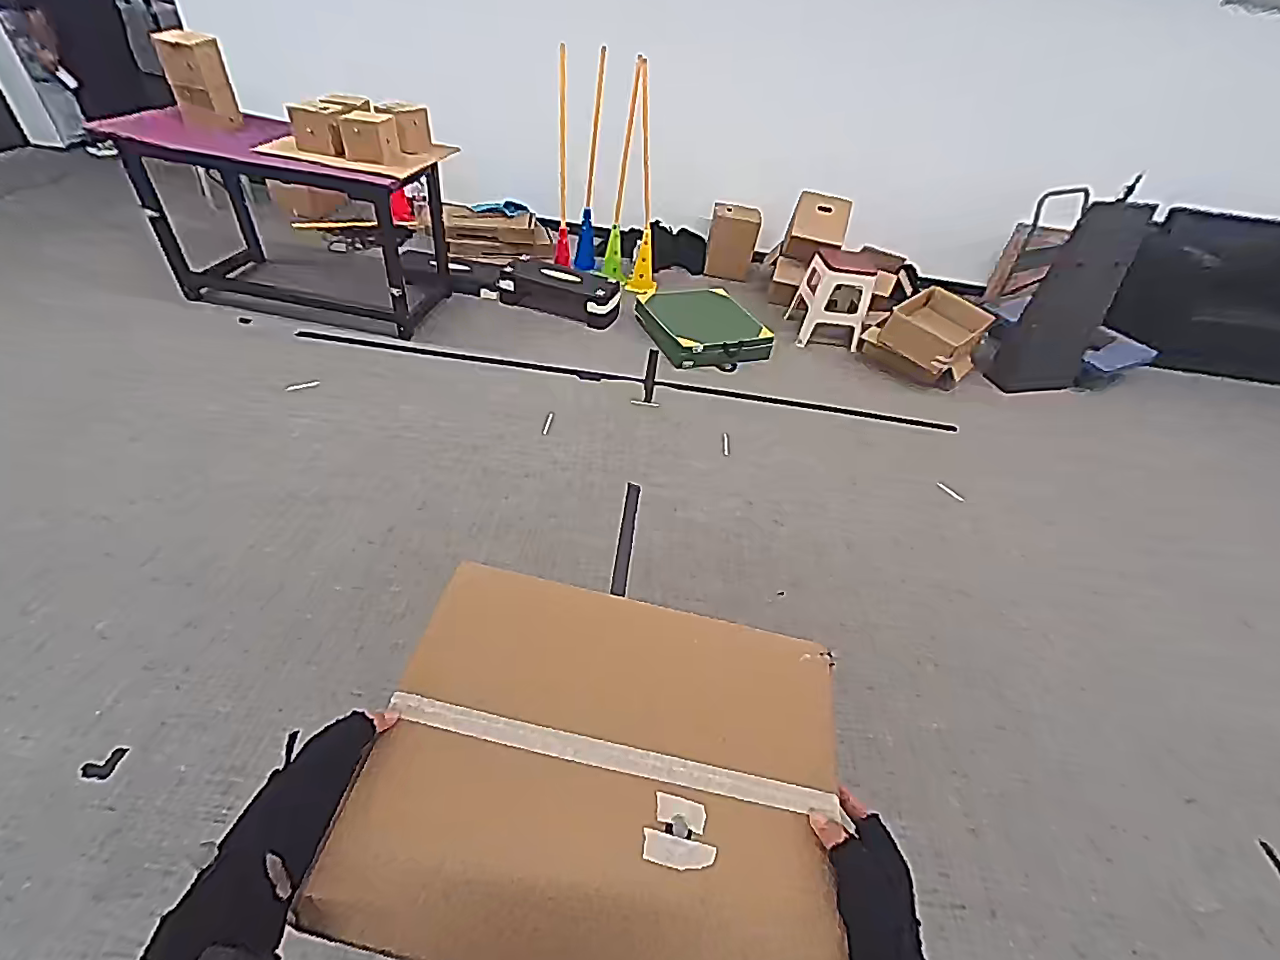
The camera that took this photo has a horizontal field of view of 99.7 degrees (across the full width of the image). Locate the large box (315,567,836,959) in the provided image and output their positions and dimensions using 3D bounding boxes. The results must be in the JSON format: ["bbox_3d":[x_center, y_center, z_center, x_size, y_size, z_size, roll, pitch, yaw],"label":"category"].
[{"bbox_3d":[-0.044,0.344,0.604,0.408,0.320,0.320,13,48,2],"label":"large box"}]
